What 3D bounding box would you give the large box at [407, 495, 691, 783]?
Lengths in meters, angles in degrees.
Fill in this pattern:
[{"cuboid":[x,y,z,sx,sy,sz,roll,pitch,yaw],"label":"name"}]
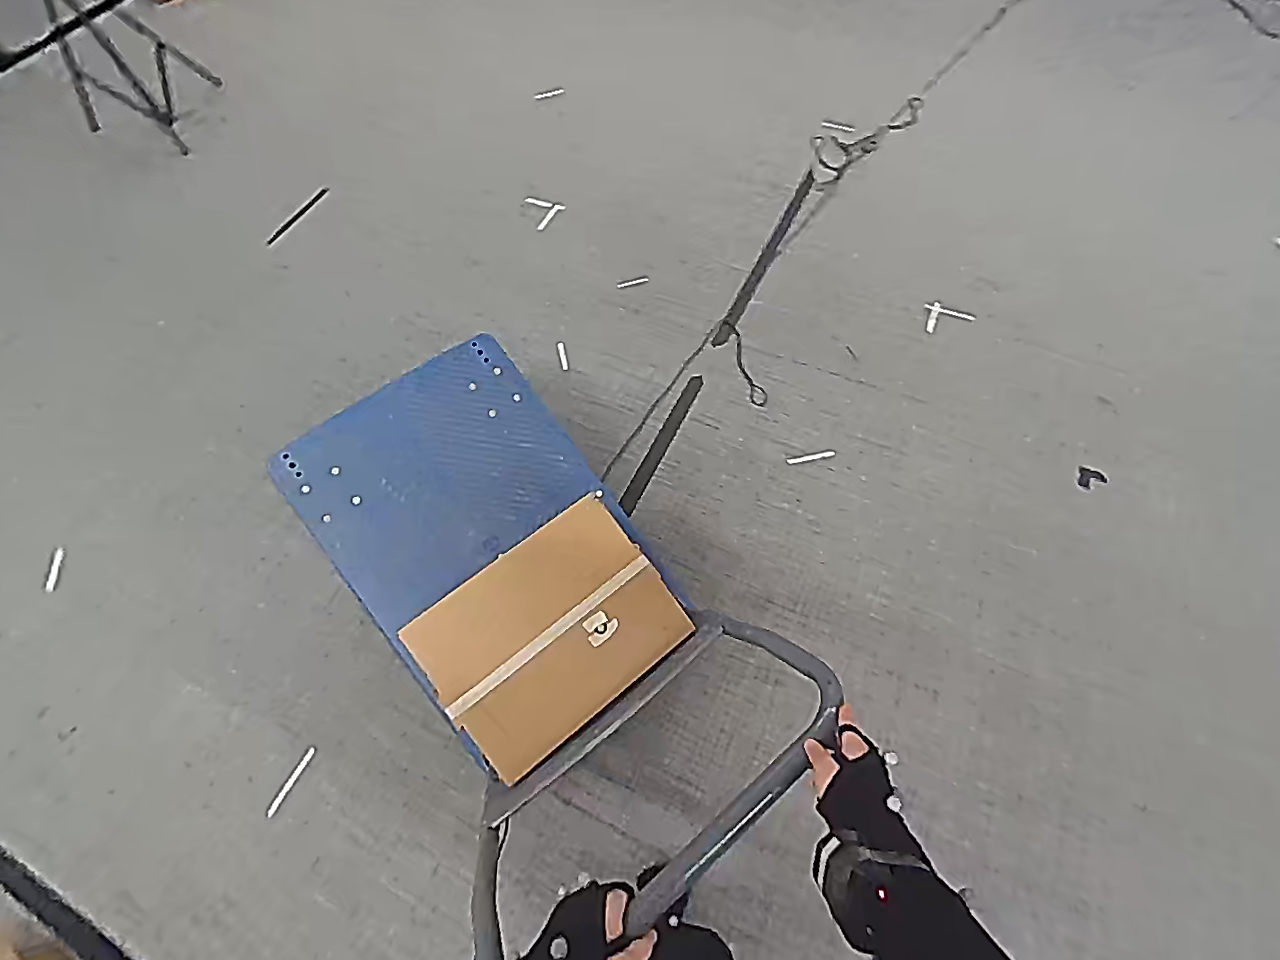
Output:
[{"cuboid":[-0.175,0.293,1.079,0.408,0.320,0.320,-37,89,-16],"label":"large box"}]
